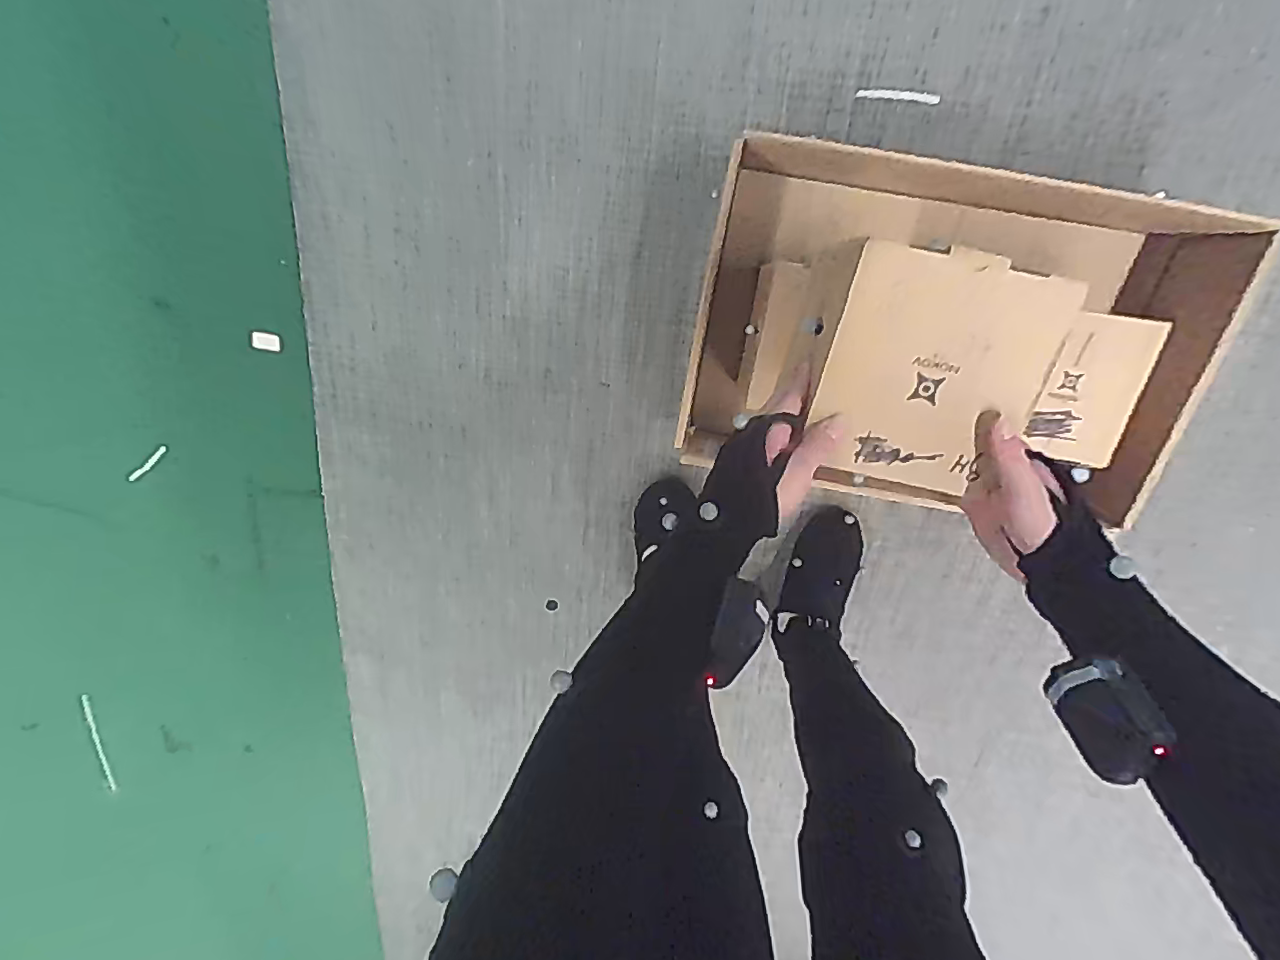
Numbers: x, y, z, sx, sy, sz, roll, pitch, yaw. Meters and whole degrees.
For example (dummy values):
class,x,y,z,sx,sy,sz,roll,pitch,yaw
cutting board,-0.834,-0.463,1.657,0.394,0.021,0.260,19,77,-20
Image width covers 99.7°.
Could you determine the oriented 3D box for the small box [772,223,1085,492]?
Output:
class,x,y,z,sx,sy,sz,roll,pitch,yaw
small box,0.228,-0.112,0.487,0.168,0.176,0.179,12,110,1
